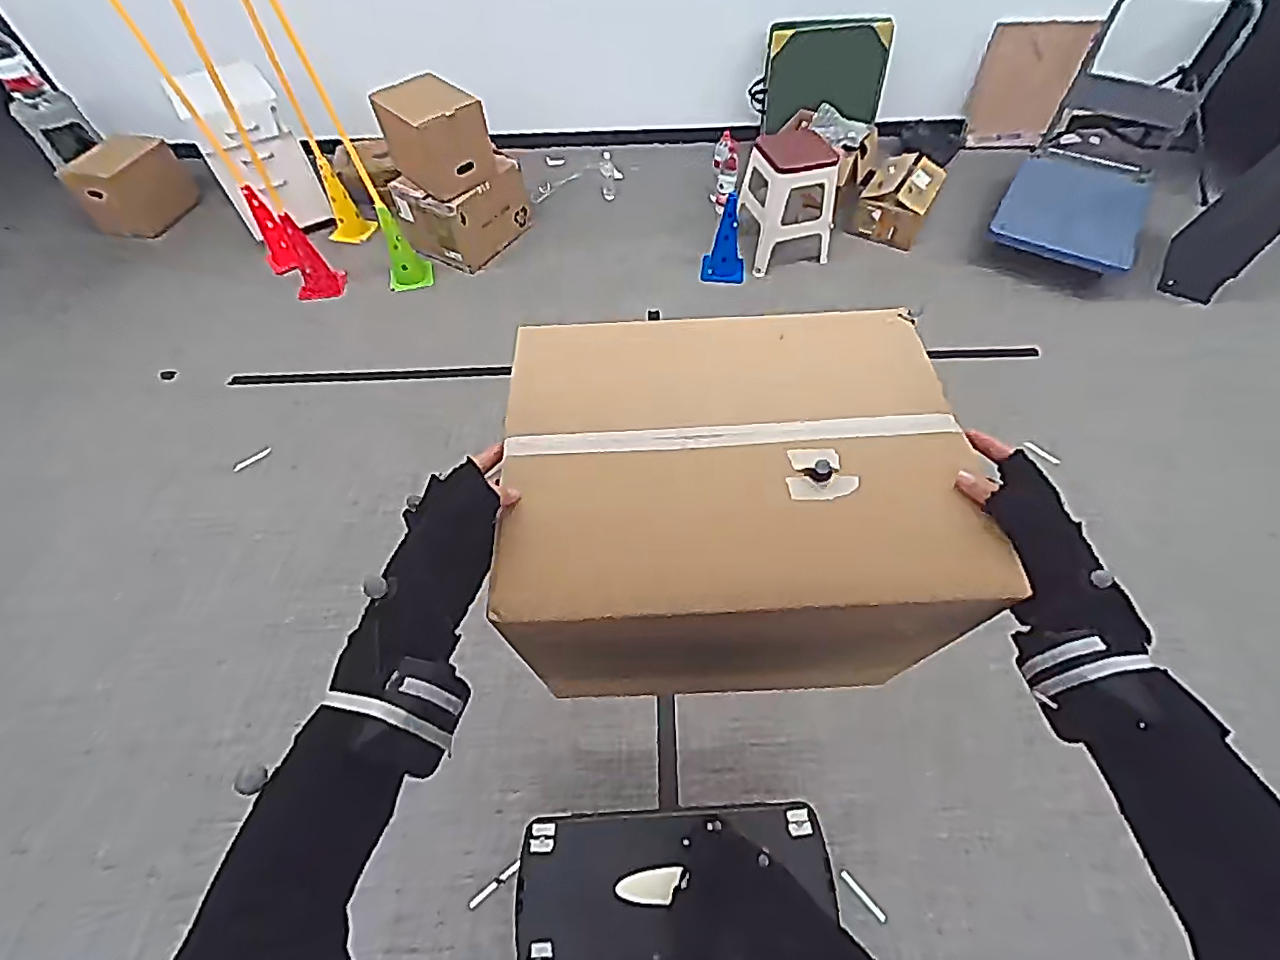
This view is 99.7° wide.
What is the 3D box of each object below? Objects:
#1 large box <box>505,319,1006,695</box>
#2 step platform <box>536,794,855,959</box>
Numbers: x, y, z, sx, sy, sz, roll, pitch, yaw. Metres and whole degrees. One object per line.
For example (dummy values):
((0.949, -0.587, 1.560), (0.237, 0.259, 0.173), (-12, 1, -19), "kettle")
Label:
((0.085, 0.046, 0.623), (0.408, 0.320, 0.320), (-3, 59, 0), "large box")
((0.113, 0.890, 1.216), (0.684, 0.204, 0.286), (-3, 56, -2), "step platform")
